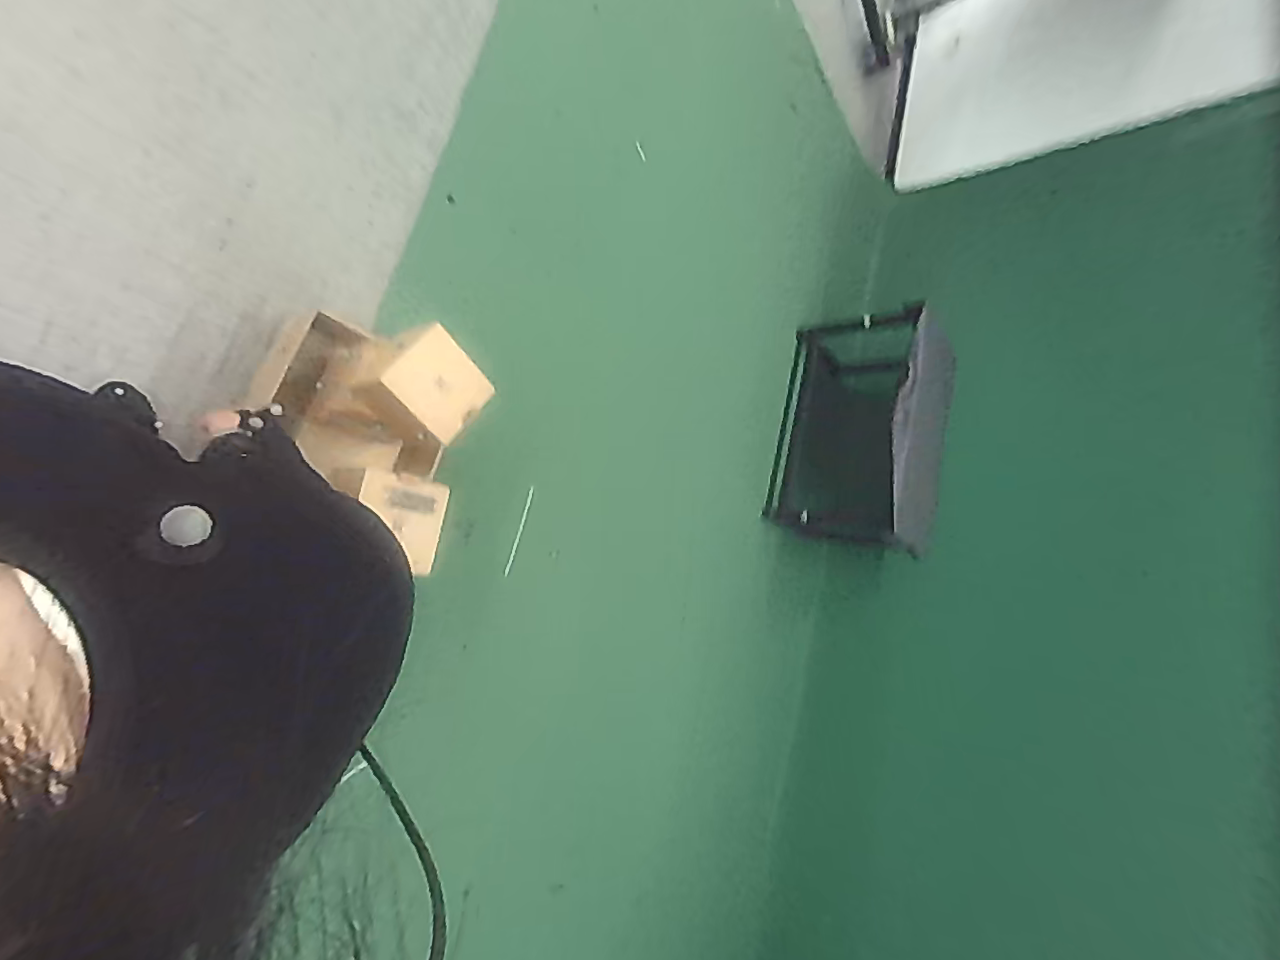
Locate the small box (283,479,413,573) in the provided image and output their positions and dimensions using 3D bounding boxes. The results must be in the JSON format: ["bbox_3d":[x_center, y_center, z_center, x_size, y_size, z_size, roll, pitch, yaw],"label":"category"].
[{"bbox_3d":[-0.622,0.096,1.153,0.179,0.176,0.168,21,74,-44],"label":"small box"}]

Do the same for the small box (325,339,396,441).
[{"bbox_3d":[-0.561,-0.188,1.199,0.179,0.176,0.168,29,72,-46],"label":"small box"}]

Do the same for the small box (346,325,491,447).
[{"bbox_3d":[-0.446,-0.181,1.084,0.168,0.176,0.179,-57,131,-28],"label":"small box"}]
